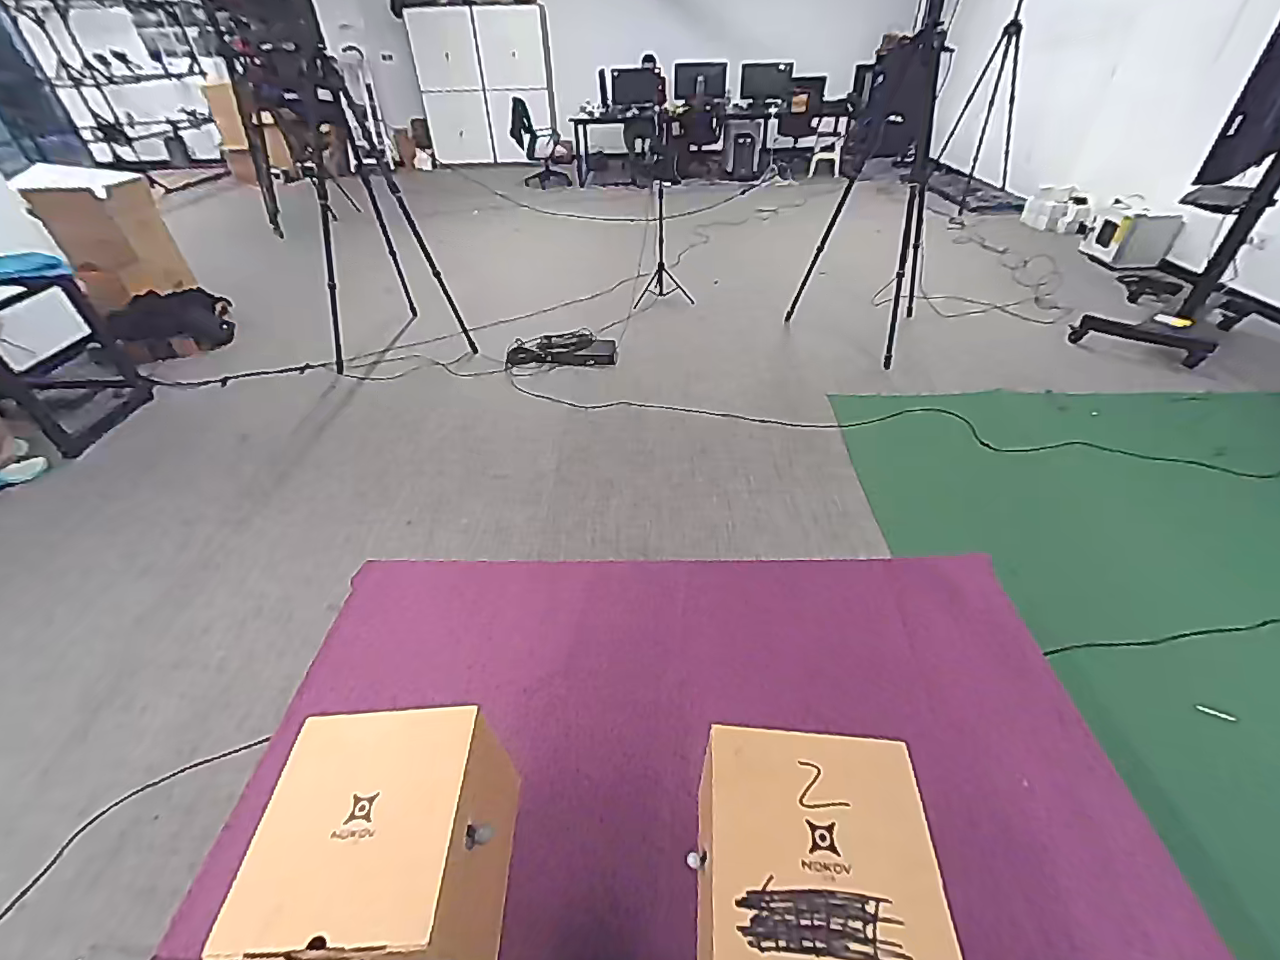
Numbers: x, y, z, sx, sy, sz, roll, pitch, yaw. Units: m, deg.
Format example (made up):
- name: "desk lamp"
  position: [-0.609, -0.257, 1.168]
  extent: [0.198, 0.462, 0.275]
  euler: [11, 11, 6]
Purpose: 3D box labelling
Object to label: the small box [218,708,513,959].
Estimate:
- name: "small box"
  position: [-0.225, 0.340, 0.507]
  extent: [0.168, 0.176, 0.179]
  euler: [-5, 41, 2]
